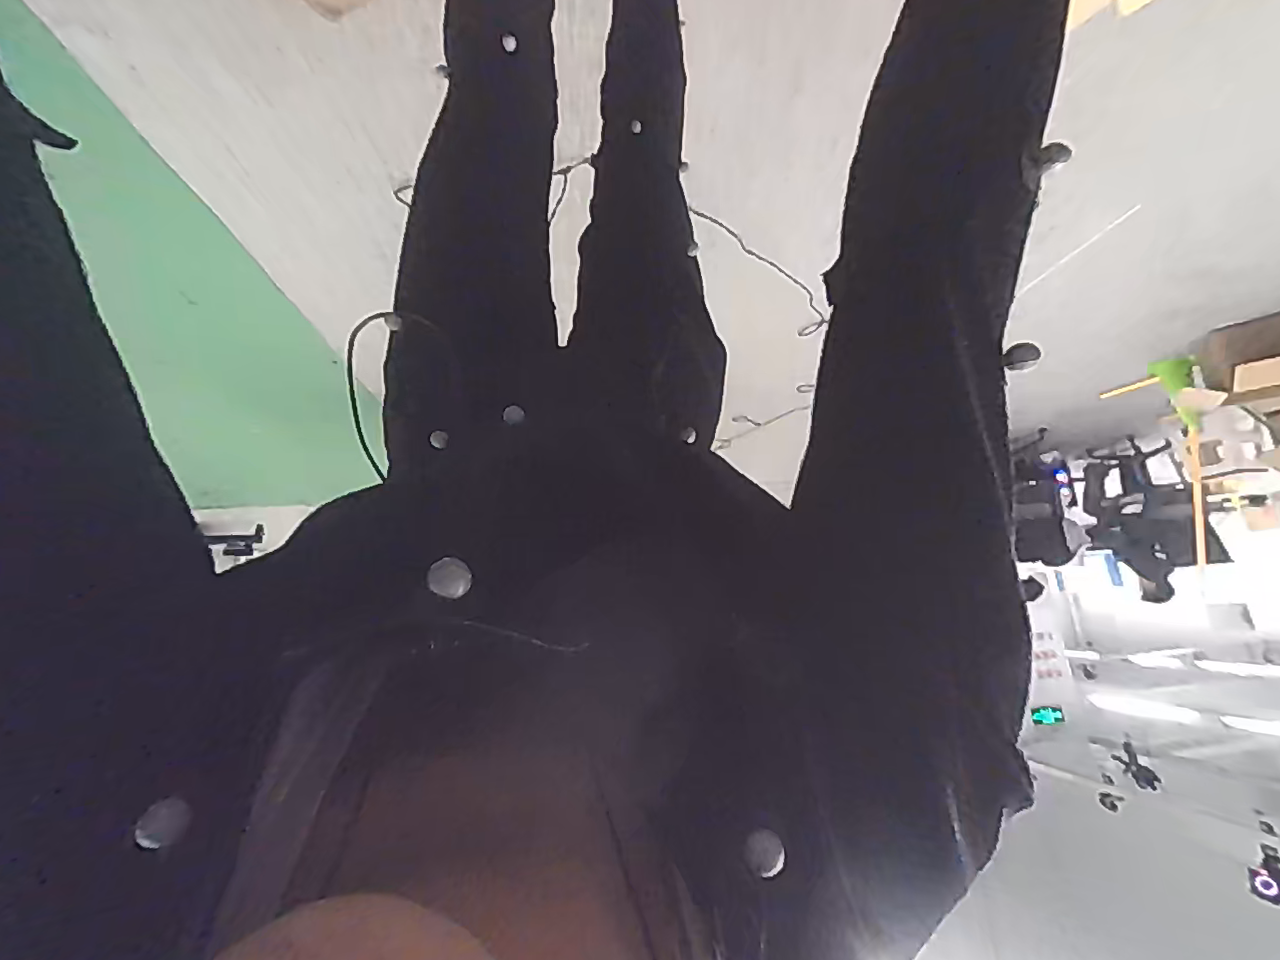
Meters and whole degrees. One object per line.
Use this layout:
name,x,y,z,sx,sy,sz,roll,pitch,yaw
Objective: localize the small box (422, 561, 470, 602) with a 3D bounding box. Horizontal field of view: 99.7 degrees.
small box,-0.839,0.444,2.350,0.168,0.176,0.179,-4,167,-7
